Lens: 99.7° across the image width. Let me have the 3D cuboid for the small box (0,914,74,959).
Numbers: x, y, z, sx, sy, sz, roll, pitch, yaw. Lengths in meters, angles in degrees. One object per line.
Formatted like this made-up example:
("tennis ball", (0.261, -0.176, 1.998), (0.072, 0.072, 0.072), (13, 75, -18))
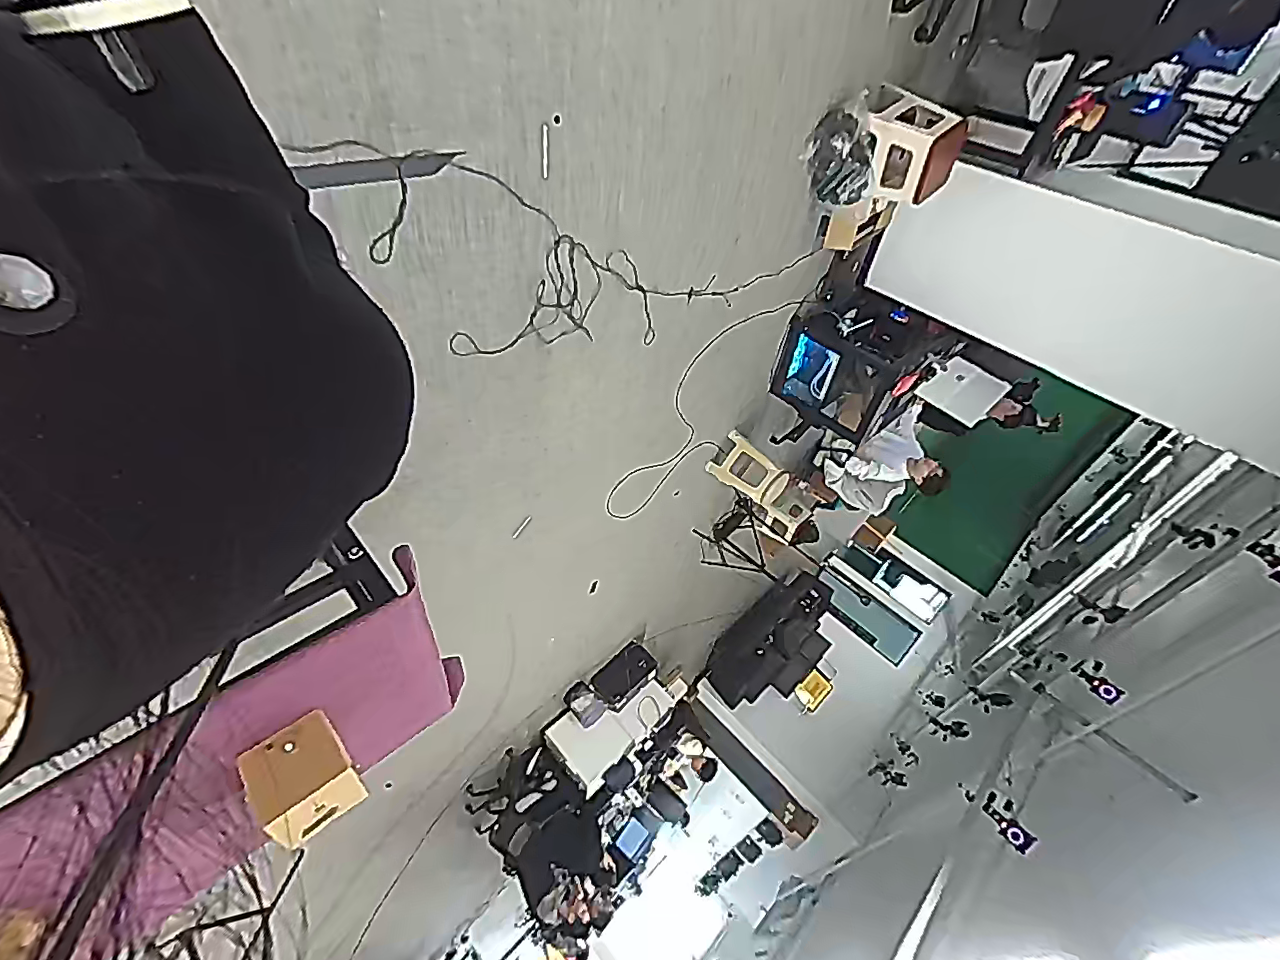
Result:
("small box", (-1.081, 0.875, 0.898), (0.168, 0.176, 0.179), (-28, 145, -38))

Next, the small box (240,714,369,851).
("small box", (-0.714, 0.640, 1.158), (0.168, 0.176, 0.179), (-30, 145, -34))
